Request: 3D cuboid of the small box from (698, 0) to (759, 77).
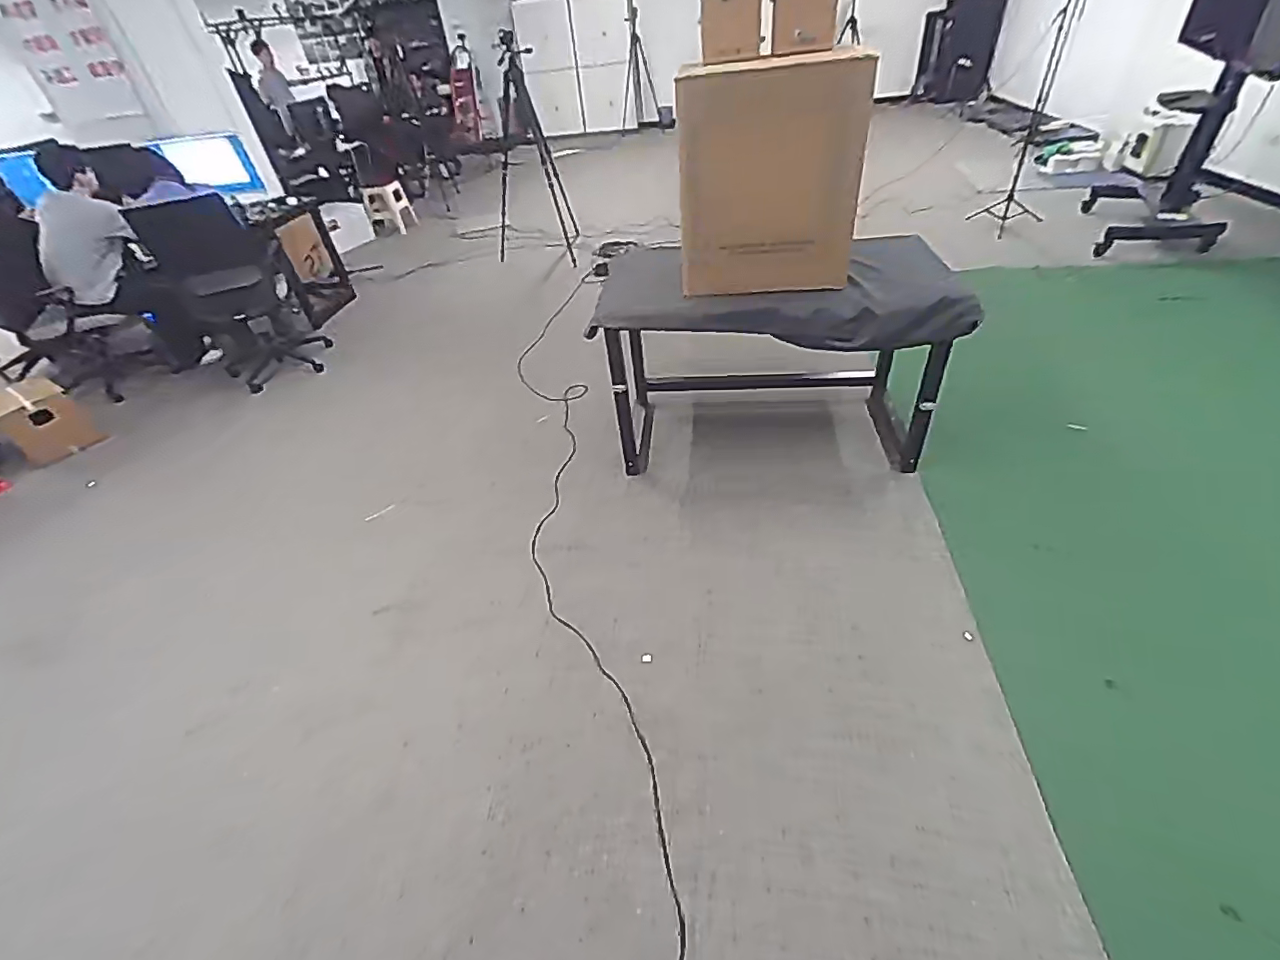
[{"bbox_3d":[0.260,-1.289,1.578,0.168,0.176,0.179,-1,38,10],"label":"small box"}]
